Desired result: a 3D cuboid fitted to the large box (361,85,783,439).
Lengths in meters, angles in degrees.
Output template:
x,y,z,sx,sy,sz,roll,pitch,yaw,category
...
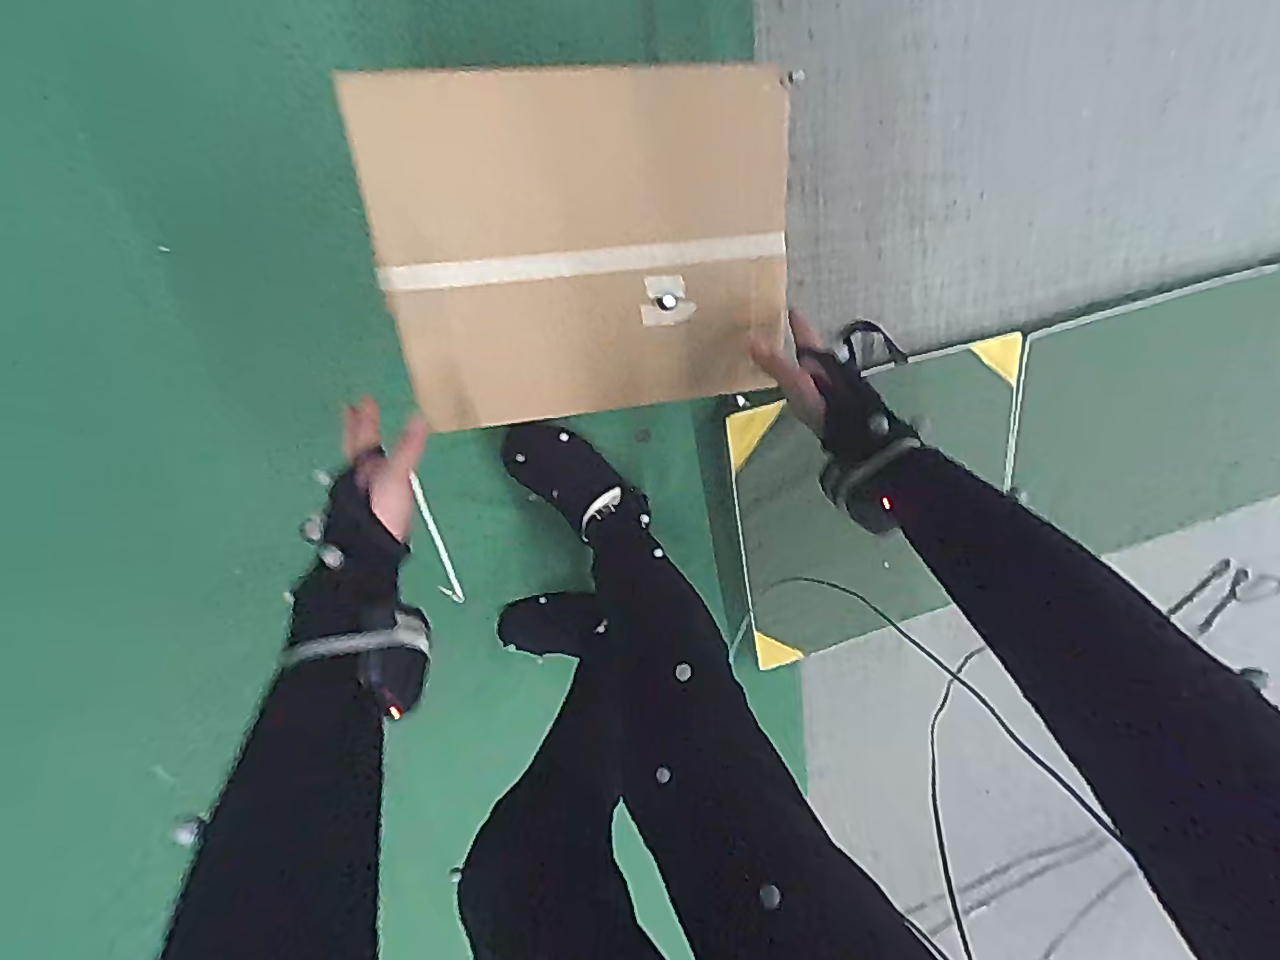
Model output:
x,y,z,sx,sy,sz,roll,pitch,yaw,category
-0.073,-0.270,0.693,0.408,0.320,0.320,-10,115,-11,large box
